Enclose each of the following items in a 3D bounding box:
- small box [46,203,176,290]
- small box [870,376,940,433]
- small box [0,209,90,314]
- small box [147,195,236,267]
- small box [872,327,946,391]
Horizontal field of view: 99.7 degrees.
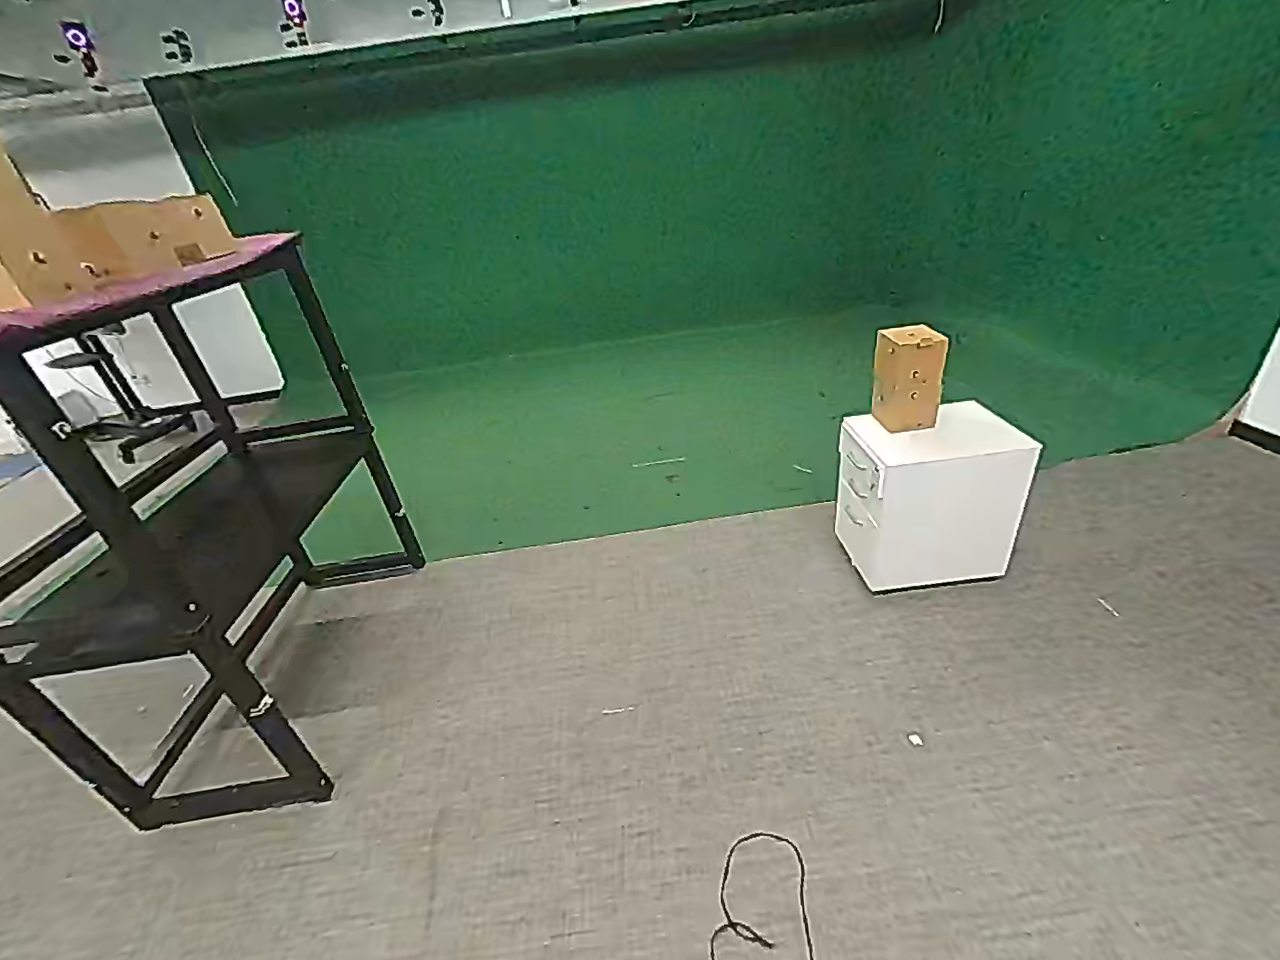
[{"bbox_3d":[-1.305,-0.575,1.333,0.168,0.176,0.179,-10,32,-2],"label":"small box"},{"bbox_3d":[0.965,-0.288,1.986,0.168,0.176,0.179,-8,31,1],"label":"small box"},{"bbox_3d":[-1.242,-0.413,1.037,0.179,0.176,0.168,-10,29,-3],"label":"small box"},{"bbox_3d":[-1.361,-0.734,1.608,0.168,0.176,0.179,-10,31,2],"label":"small box"},{"bbox_3d":[0.939,-0.428,1.906,0.168,0.176,0.179,-7,32,0],"label":"small box"}]
